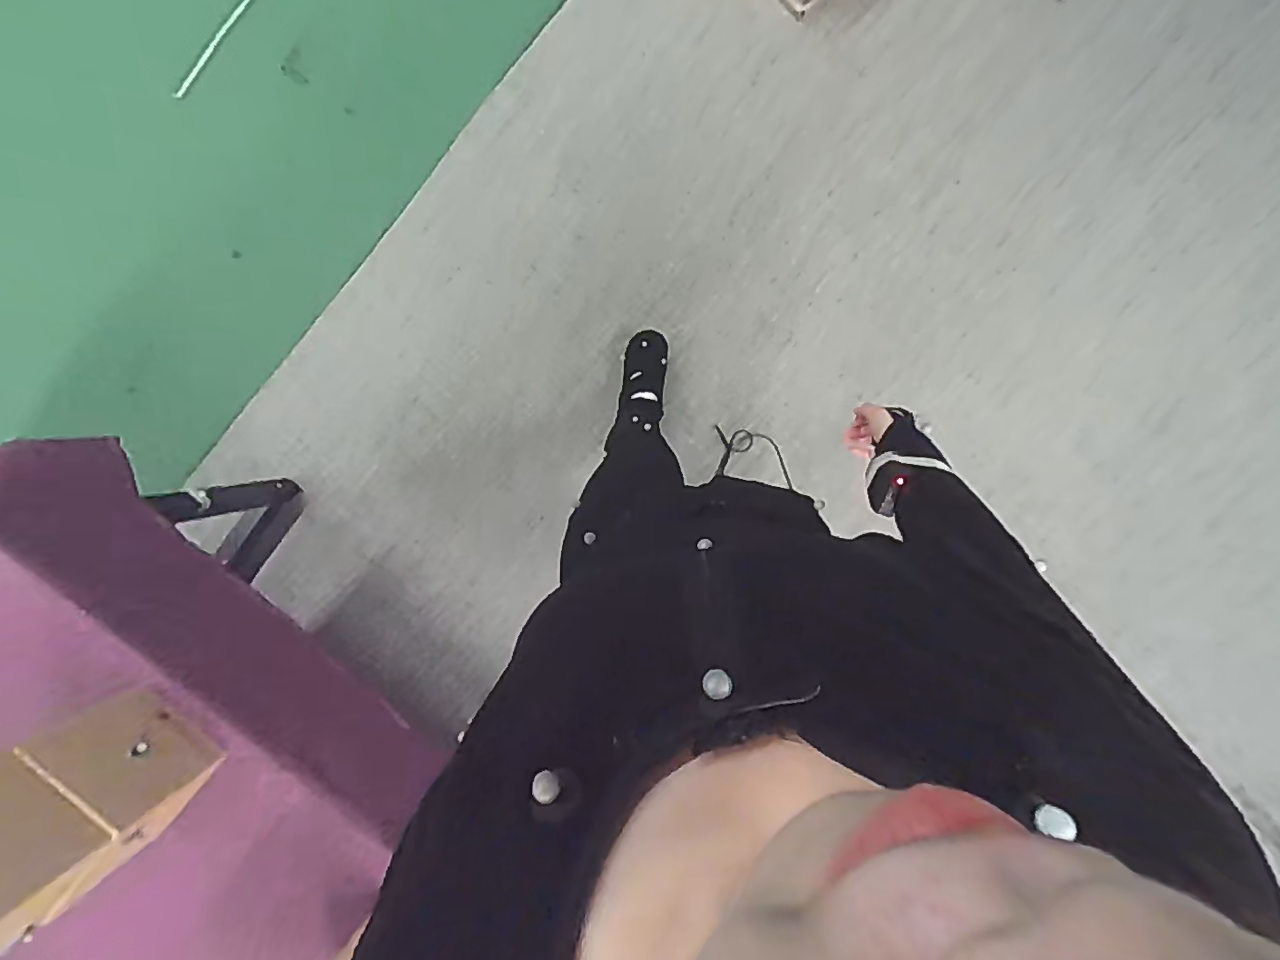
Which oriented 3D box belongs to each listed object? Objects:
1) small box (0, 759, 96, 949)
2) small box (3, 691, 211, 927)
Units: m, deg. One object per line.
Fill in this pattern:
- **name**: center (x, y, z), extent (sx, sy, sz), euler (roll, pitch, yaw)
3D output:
- **small box**: center (-0.757, 0.440, 0.571), extent (0.179, 0.176, 0.168), euler (43, 95, -1)
- **small box**: center (-0.742, 0.428, 0.735), extent (0.168, 0.176, 0.179), euler (42, 96, -1)
